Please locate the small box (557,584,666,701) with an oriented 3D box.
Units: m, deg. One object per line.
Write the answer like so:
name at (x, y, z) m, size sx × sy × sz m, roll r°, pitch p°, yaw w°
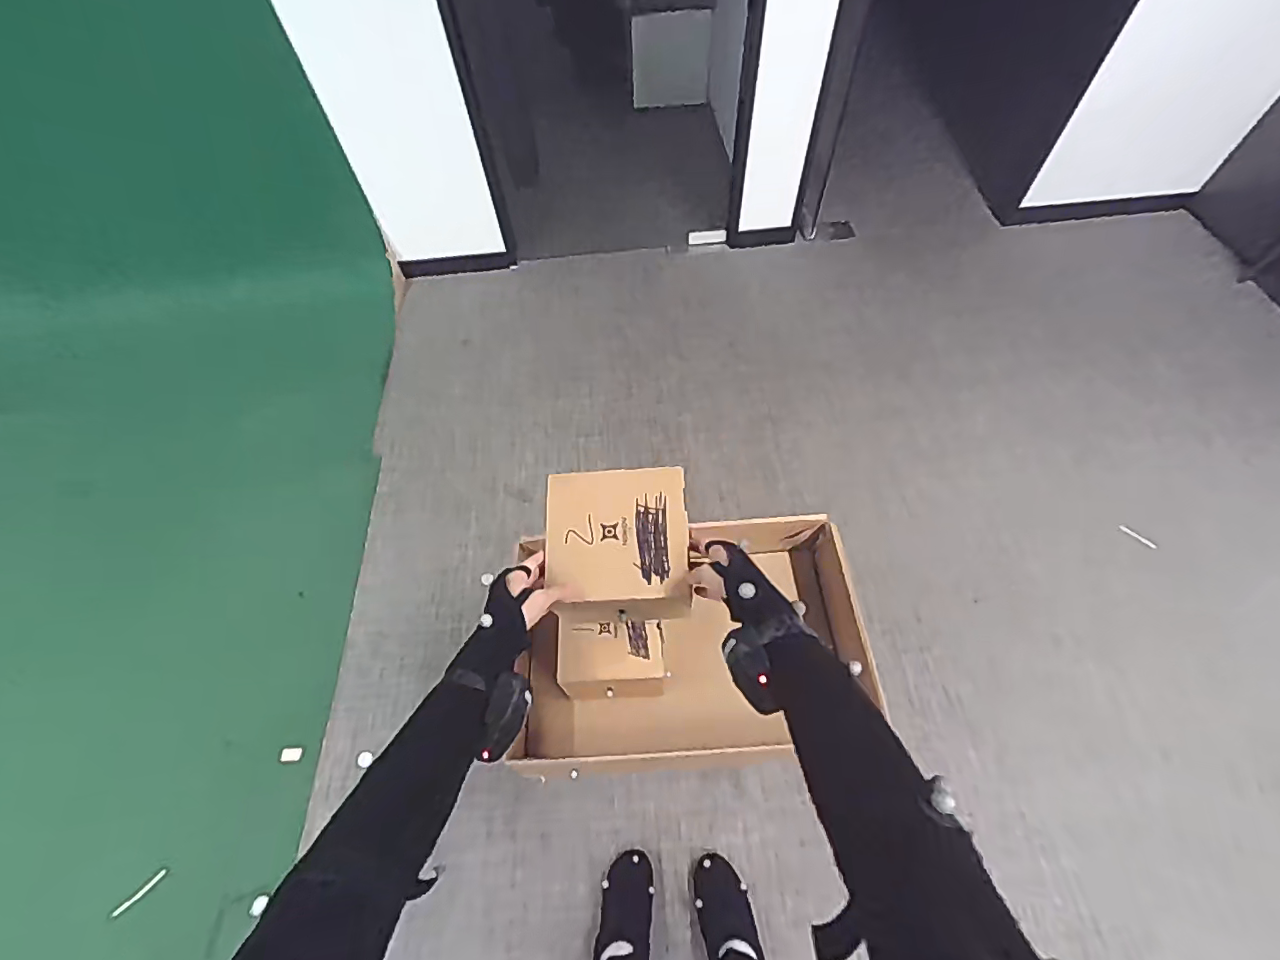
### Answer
small box at (-0.045, 0.295, 0.970) m, size 0.179 × 0.176 × 0.168 m, roll -3°, pitch 58°, yaw 1°
